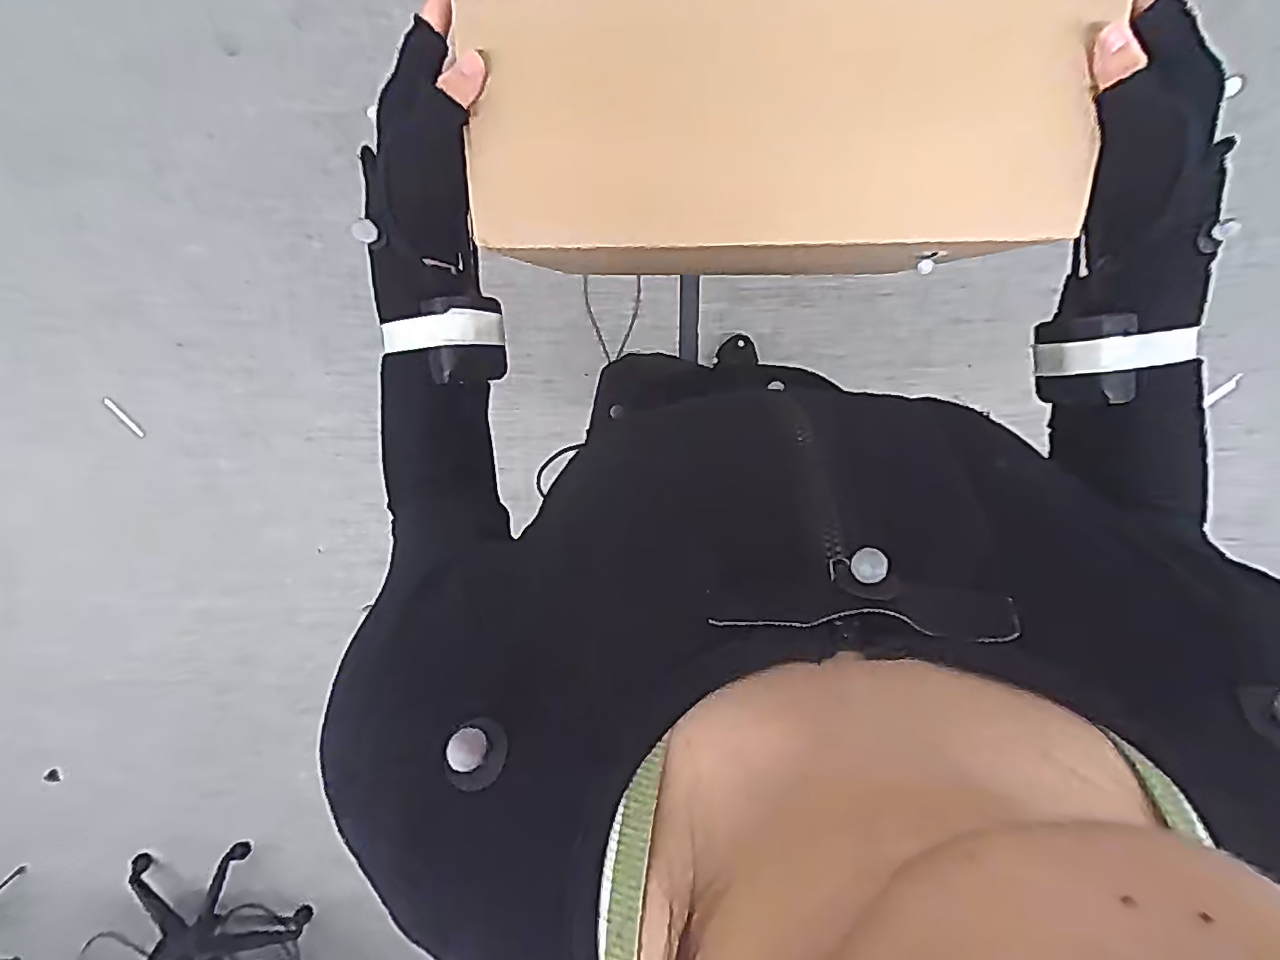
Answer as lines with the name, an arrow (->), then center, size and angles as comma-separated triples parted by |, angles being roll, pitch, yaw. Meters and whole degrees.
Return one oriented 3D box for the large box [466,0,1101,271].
large box -> 0.096, -0.359, 0.476 | 0.408, 0.320, 0.320 | 1, 107, 4
